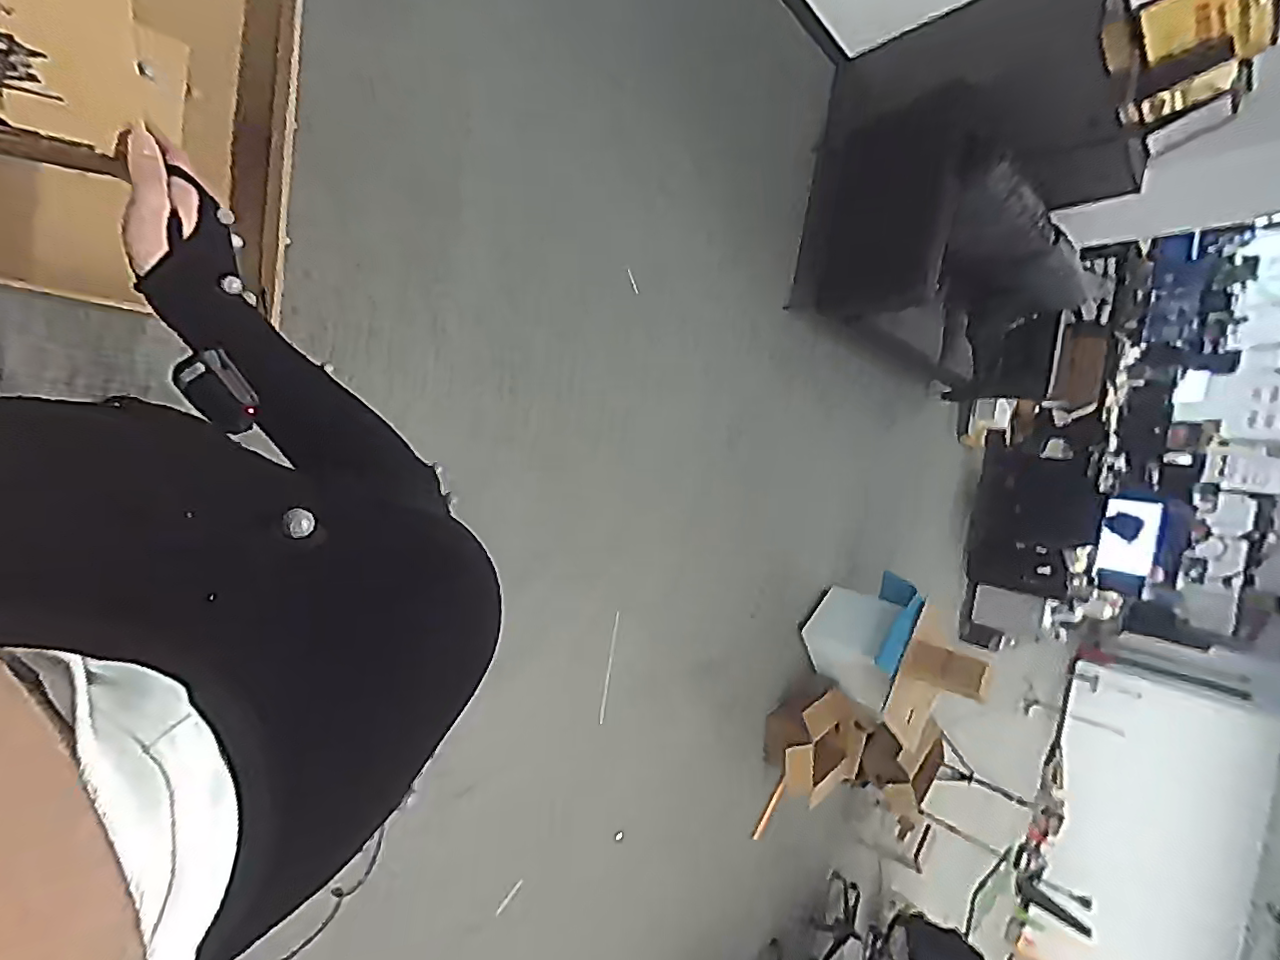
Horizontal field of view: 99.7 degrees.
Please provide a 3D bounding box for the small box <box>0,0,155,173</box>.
[{"bbox_3d":[-0.492,-0.357,0.415,0.168,0.176,0.179,-7,111,-40],"label":"small box"}]

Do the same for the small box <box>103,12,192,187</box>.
[{"bbox_3d":[-0.764,-0.560,0.777,0.168,0.176,0.179,5,94,-42],"label":"small box"}]
